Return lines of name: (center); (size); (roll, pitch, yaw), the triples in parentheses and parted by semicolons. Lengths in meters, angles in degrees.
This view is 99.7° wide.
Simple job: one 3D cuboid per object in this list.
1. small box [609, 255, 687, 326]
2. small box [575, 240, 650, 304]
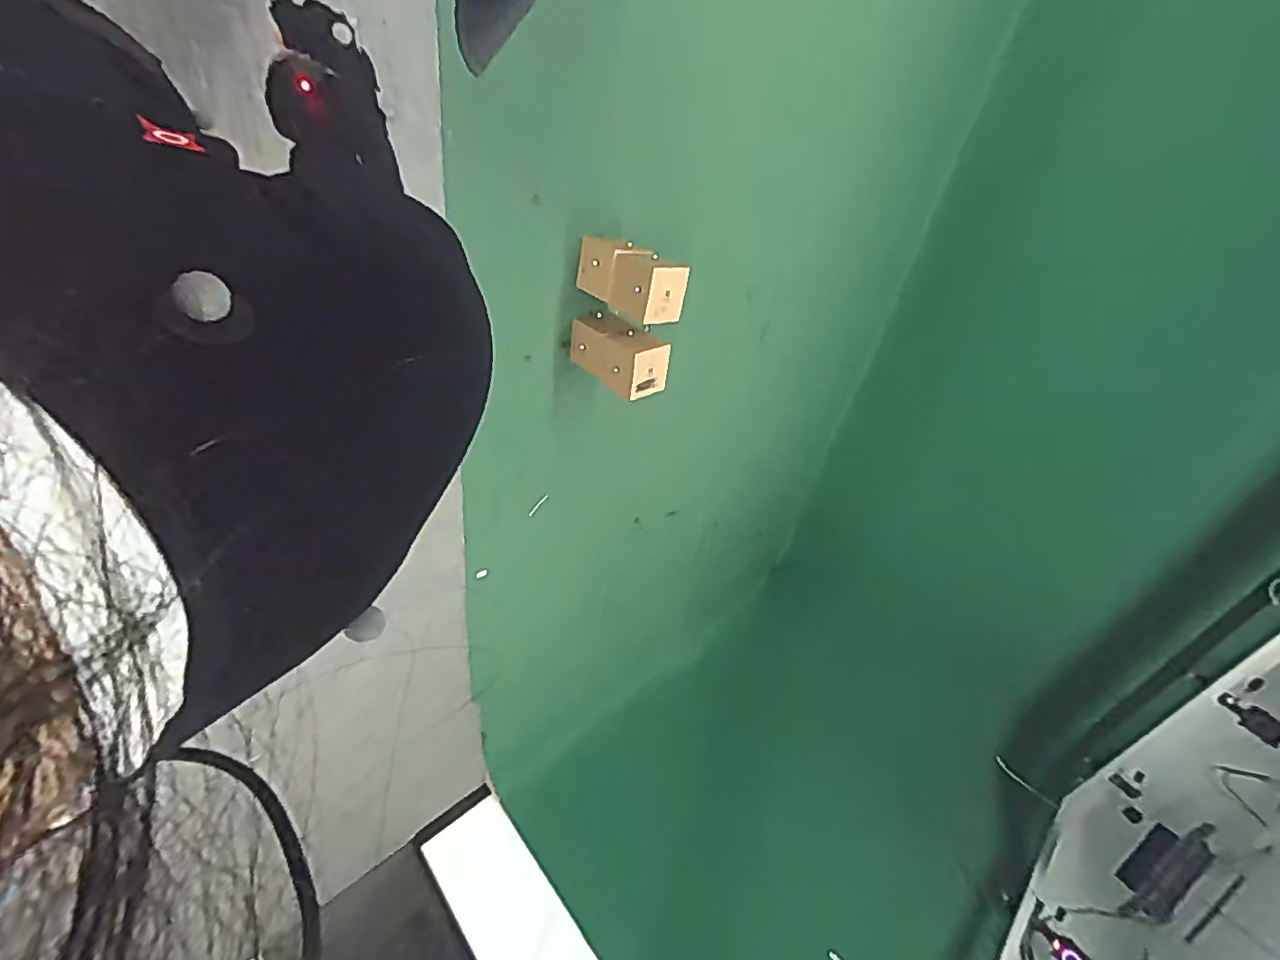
small box: (0.021, -0.611, 1.732); (0.168, 0.176, 0.179); (-19, 134, -41)
small box: (-0.097, -0.698, 1.810); (0.179, 0.176, 0.168); (-19, 133, -42)
